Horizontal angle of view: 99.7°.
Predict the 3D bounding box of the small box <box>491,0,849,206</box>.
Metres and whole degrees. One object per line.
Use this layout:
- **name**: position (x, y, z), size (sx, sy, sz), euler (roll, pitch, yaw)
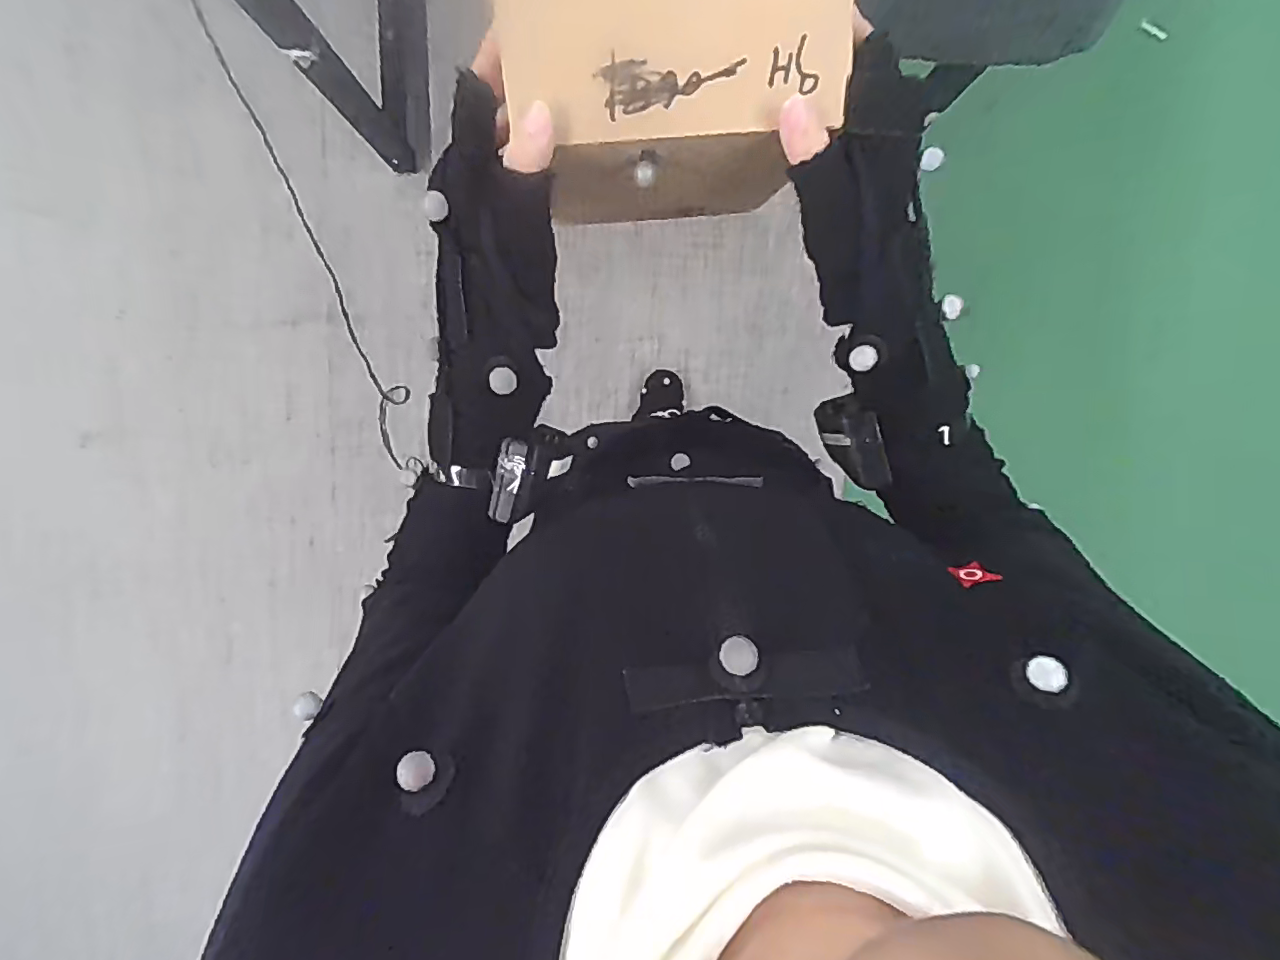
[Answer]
- **small box**: position (0.006, -0.278, 0.312), size (0.168, 0.176, 0.179), euler (-5, 104, -2)
